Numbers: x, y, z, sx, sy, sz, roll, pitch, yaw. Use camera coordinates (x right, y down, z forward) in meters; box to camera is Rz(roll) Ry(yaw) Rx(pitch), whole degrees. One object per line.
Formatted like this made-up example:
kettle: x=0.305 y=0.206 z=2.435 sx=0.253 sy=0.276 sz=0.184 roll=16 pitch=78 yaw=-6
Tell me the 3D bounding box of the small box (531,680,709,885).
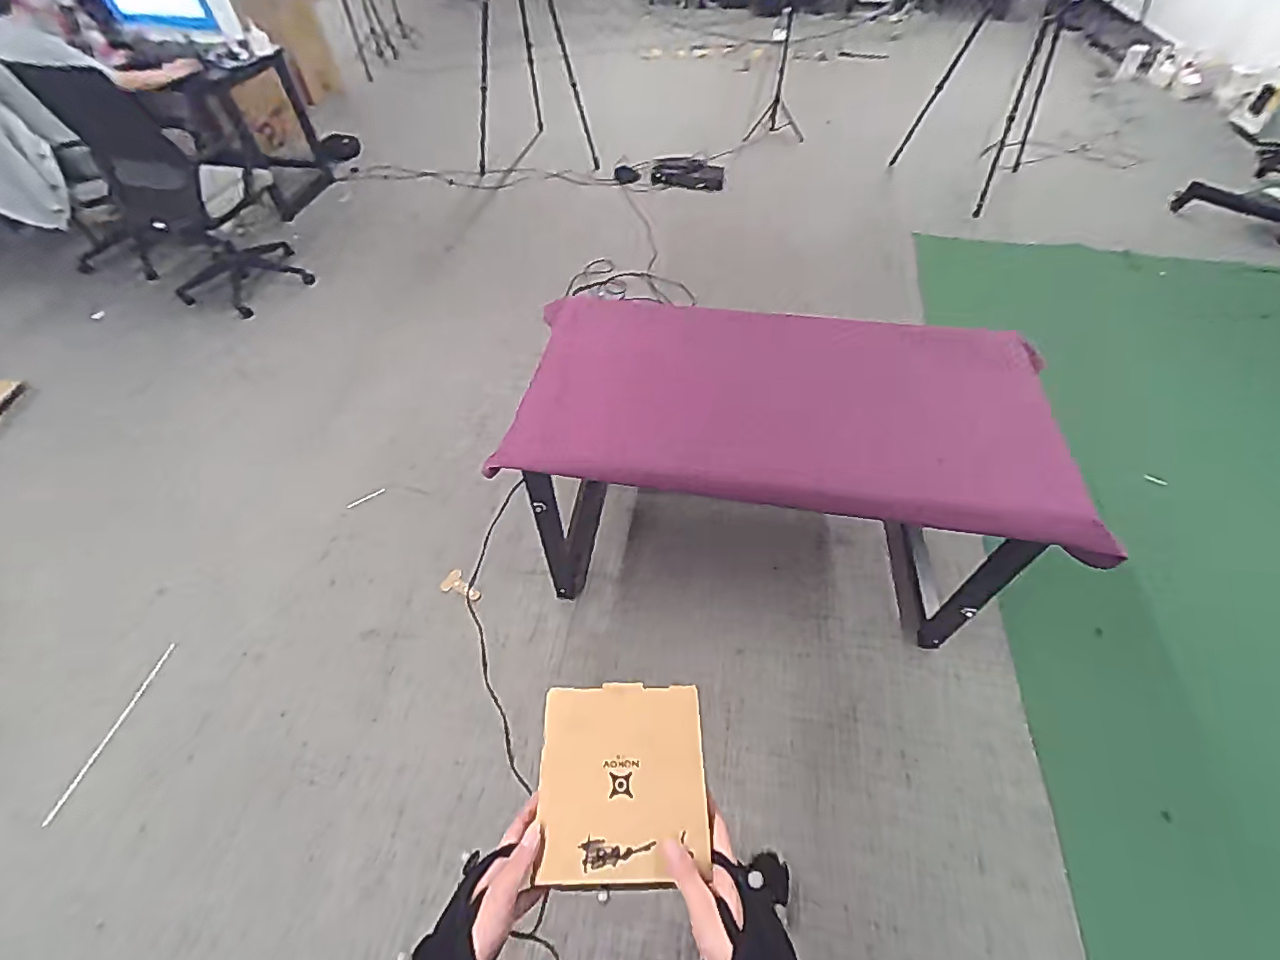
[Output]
small box: x=-0.019 y=0.338 z=0.603 sx=0.168 sy=0.176 sz=0.179 roll=-1 pitch=52 yaw=0
